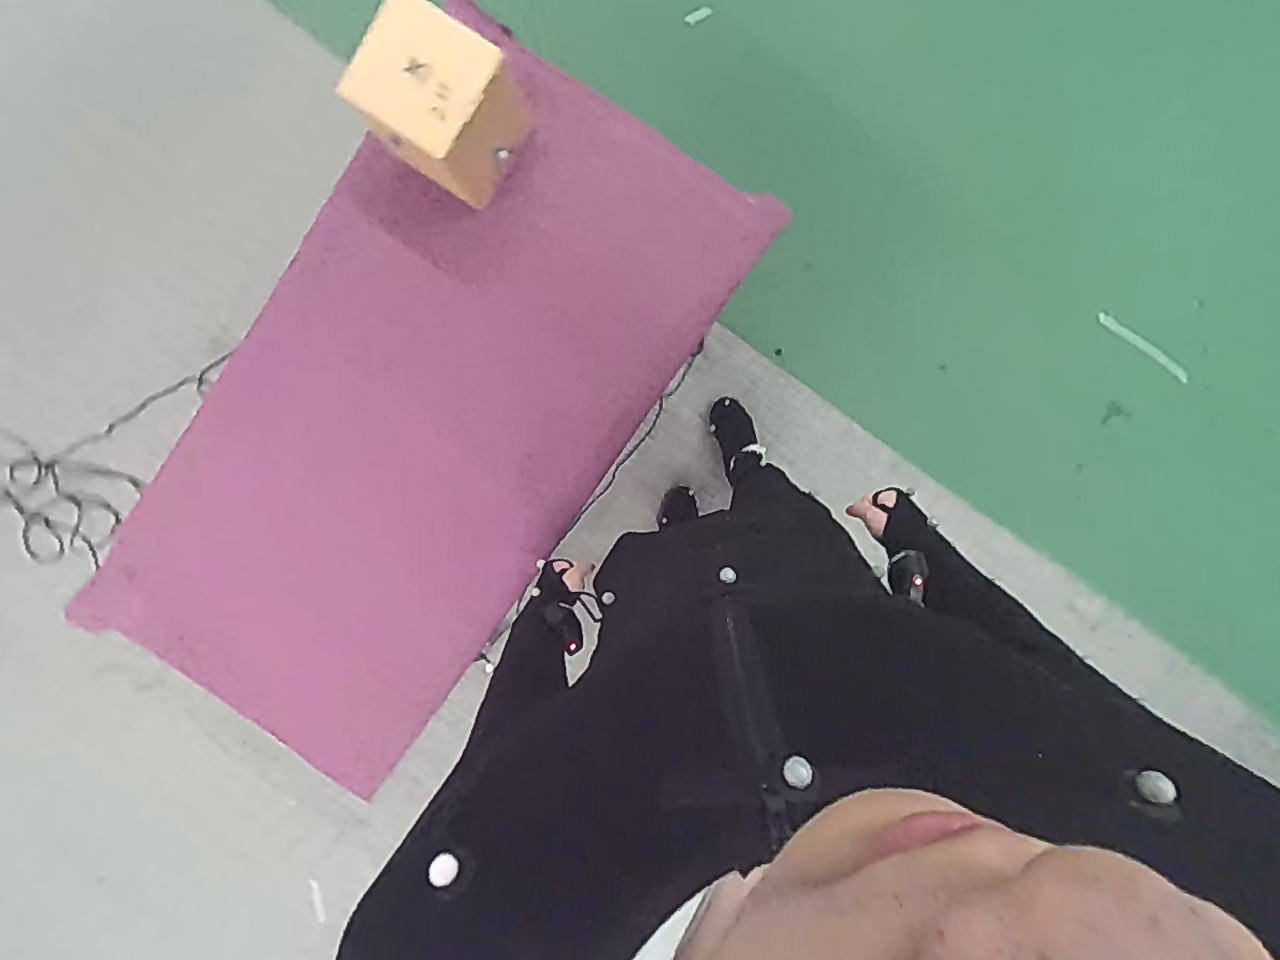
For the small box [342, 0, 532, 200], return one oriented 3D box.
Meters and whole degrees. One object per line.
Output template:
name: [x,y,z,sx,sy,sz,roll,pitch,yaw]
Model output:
small box: [-0.294,-0.564,0.818,0.179,0.176,0.168,34,97,0]
